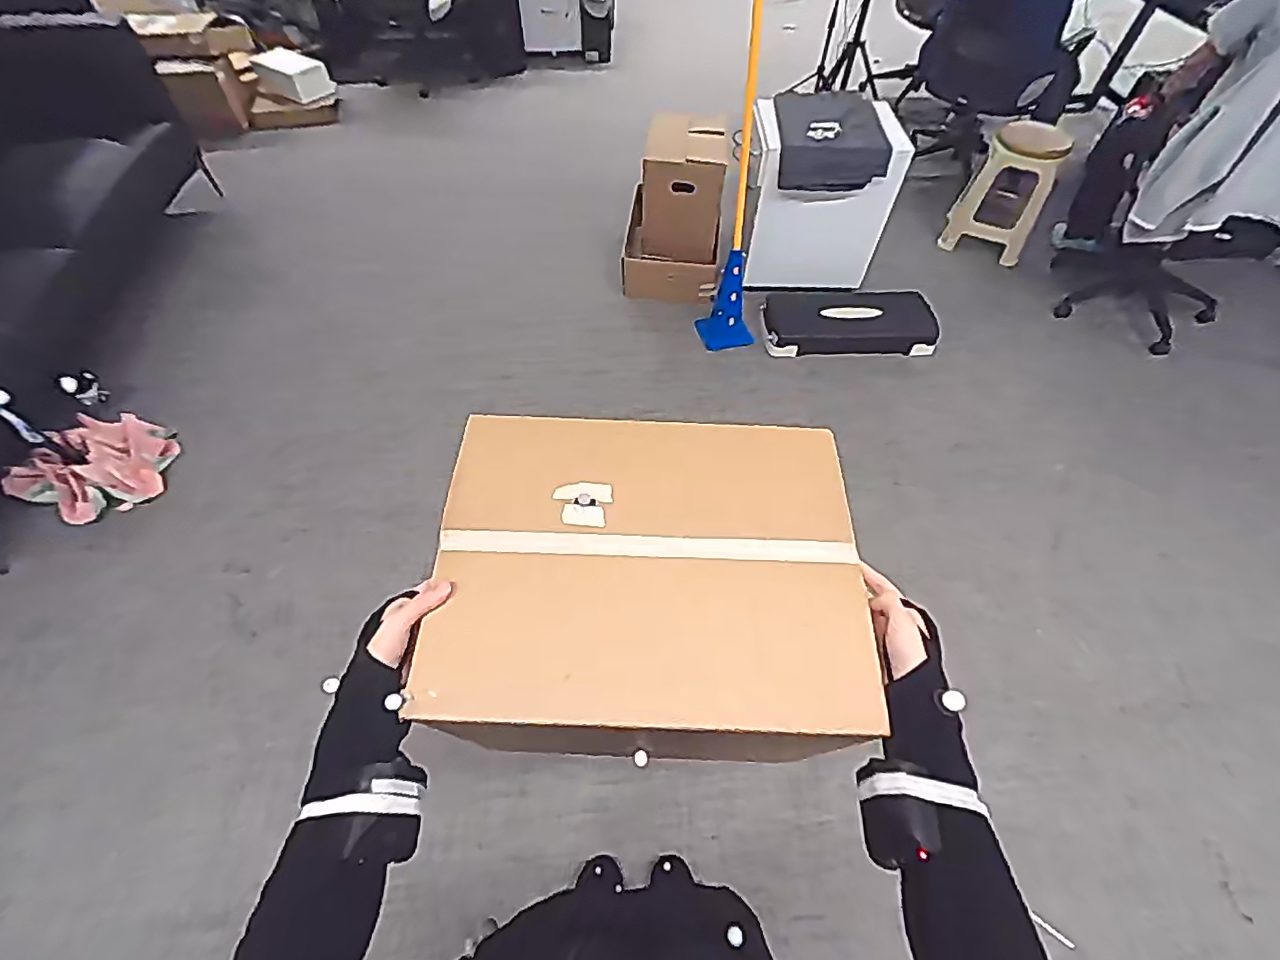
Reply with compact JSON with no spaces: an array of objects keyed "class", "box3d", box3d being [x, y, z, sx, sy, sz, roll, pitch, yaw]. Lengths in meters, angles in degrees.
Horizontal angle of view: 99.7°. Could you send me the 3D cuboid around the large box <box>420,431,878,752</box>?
[{"class":"large box","box3d":[0.011,0.153,0.666,0.408,0.320,0.320,2,58,1]}]
